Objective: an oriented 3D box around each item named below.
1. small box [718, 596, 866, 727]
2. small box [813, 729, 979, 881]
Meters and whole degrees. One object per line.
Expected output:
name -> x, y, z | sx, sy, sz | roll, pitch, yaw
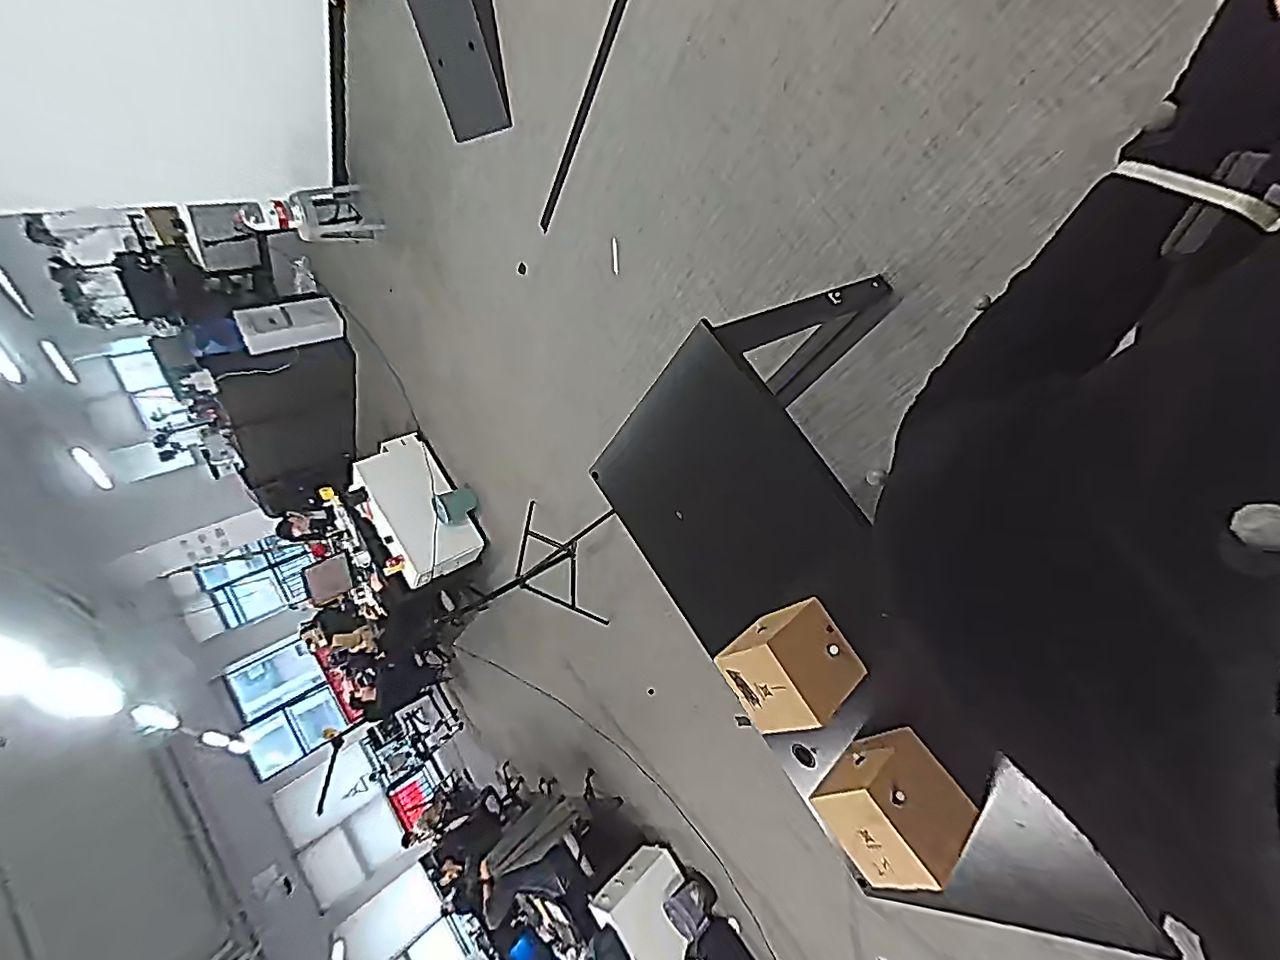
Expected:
small box -> 0.292, 0.348, 1.041 | 0.168, 0.176, 0.179 | 56, 143, 9
small box -> 0.459, 0.576, 0.976 | 0.179, 0.176, 0.168 | 51, 143, 16
